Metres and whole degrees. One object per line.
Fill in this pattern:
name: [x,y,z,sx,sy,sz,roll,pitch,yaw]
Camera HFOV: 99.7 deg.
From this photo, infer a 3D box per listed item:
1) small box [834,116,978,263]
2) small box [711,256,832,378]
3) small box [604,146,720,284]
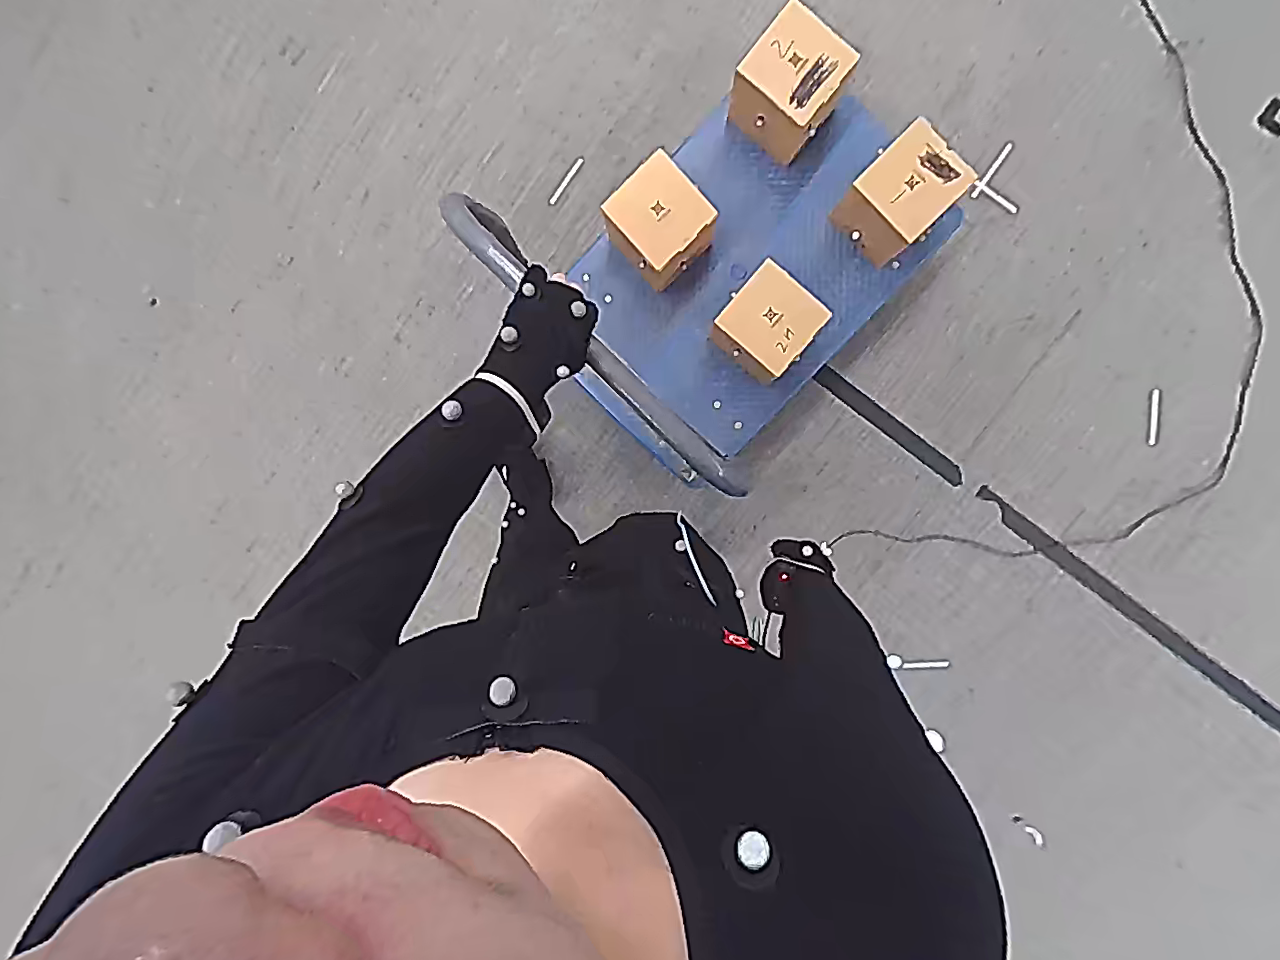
small box: [0.536,-0.587,1.118,0.179,0.176,0.168,-44,92,7]
small box: [0.269,-0.335,1.156,0.179,0.176,0.168,41,96,-1]
small box: [0.043,-0.547,1.146,0.168,0.176,0.179,-42,94,5]
